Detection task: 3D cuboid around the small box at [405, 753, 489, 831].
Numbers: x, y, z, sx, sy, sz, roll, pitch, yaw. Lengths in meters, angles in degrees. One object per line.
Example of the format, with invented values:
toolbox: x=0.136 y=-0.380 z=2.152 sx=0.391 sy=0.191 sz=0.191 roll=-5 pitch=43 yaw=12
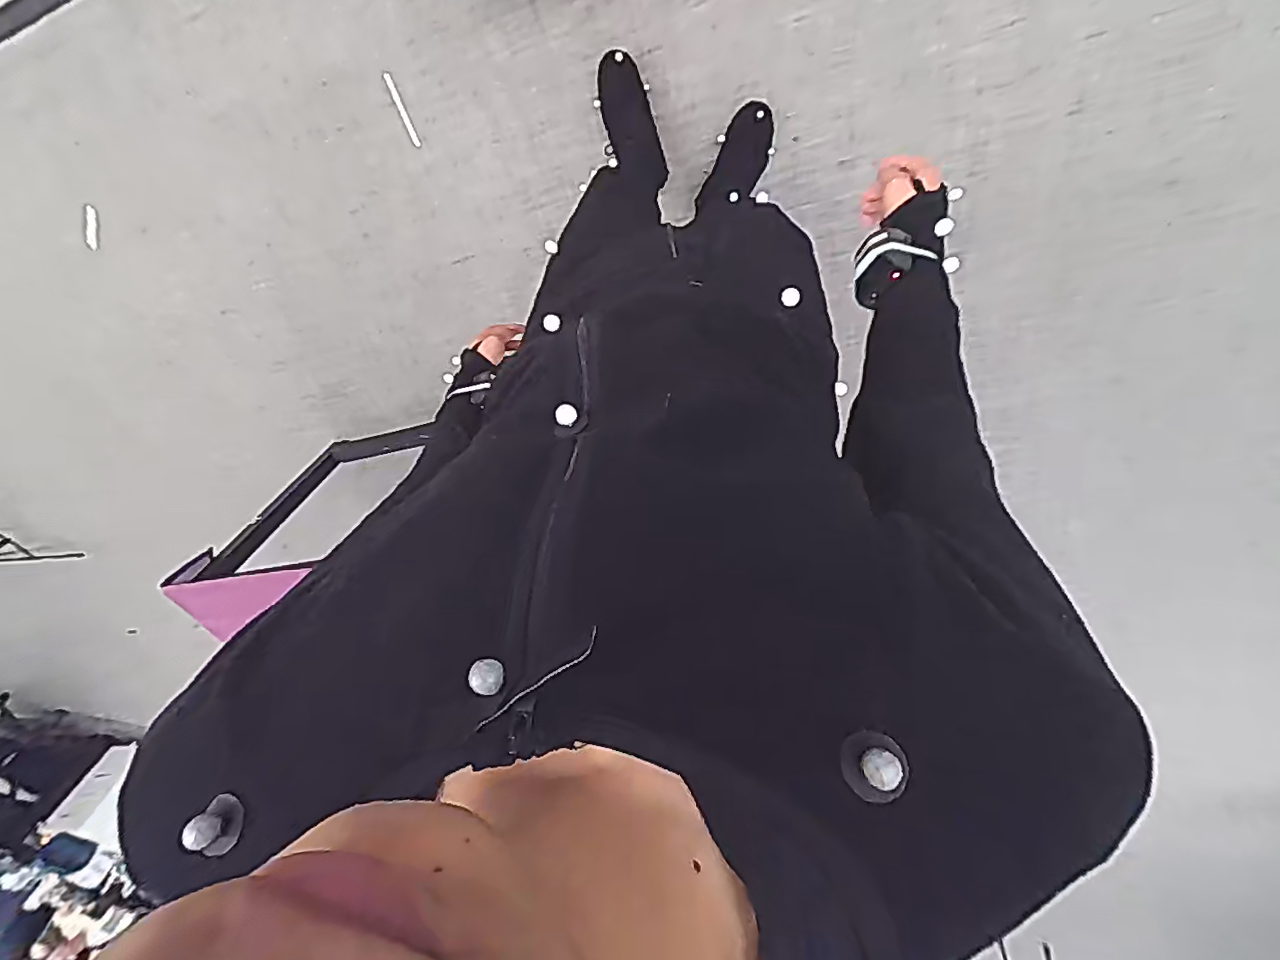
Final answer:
small box: x=-0.616 y=1.012 z=1.759 sx=0.179 sy=0.176 sz=0.168 roll=-20 pitch=122 yaw=23
